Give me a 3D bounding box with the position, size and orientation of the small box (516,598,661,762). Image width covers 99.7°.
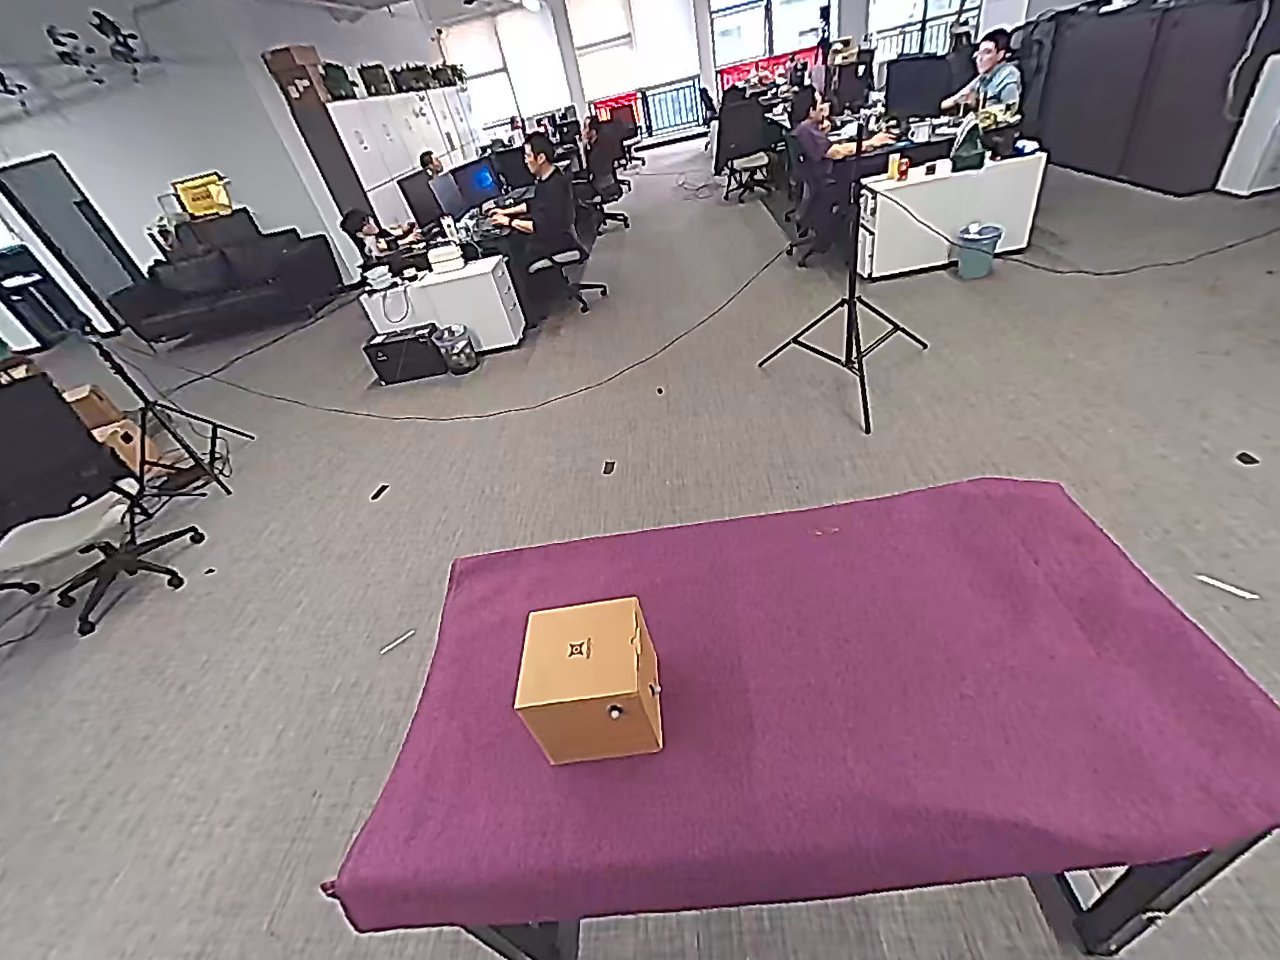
[{"bbox_3d":[-0.071,0.310,0.833,0.179,0.176,0.168,-10,37,5],"label":"small box"}]
